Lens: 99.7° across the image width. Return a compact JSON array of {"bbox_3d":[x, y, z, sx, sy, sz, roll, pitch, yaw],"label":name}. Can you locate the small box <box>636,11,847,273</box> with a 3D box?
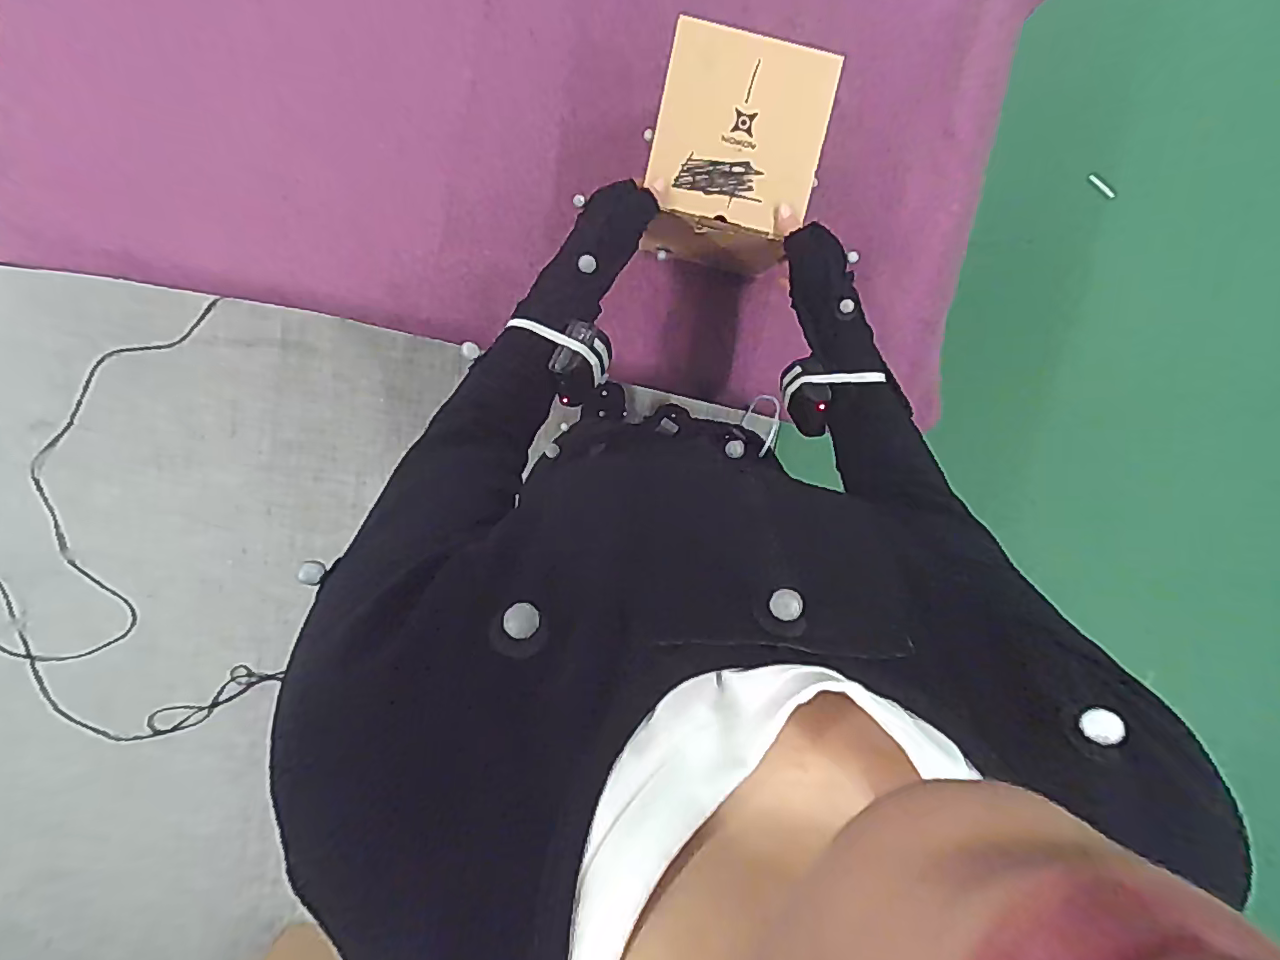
[{"bbox_3d":[0.096,-0.350,0.603,0.168,0.176,0.179,15,99,-5],"label":"small box"}]
